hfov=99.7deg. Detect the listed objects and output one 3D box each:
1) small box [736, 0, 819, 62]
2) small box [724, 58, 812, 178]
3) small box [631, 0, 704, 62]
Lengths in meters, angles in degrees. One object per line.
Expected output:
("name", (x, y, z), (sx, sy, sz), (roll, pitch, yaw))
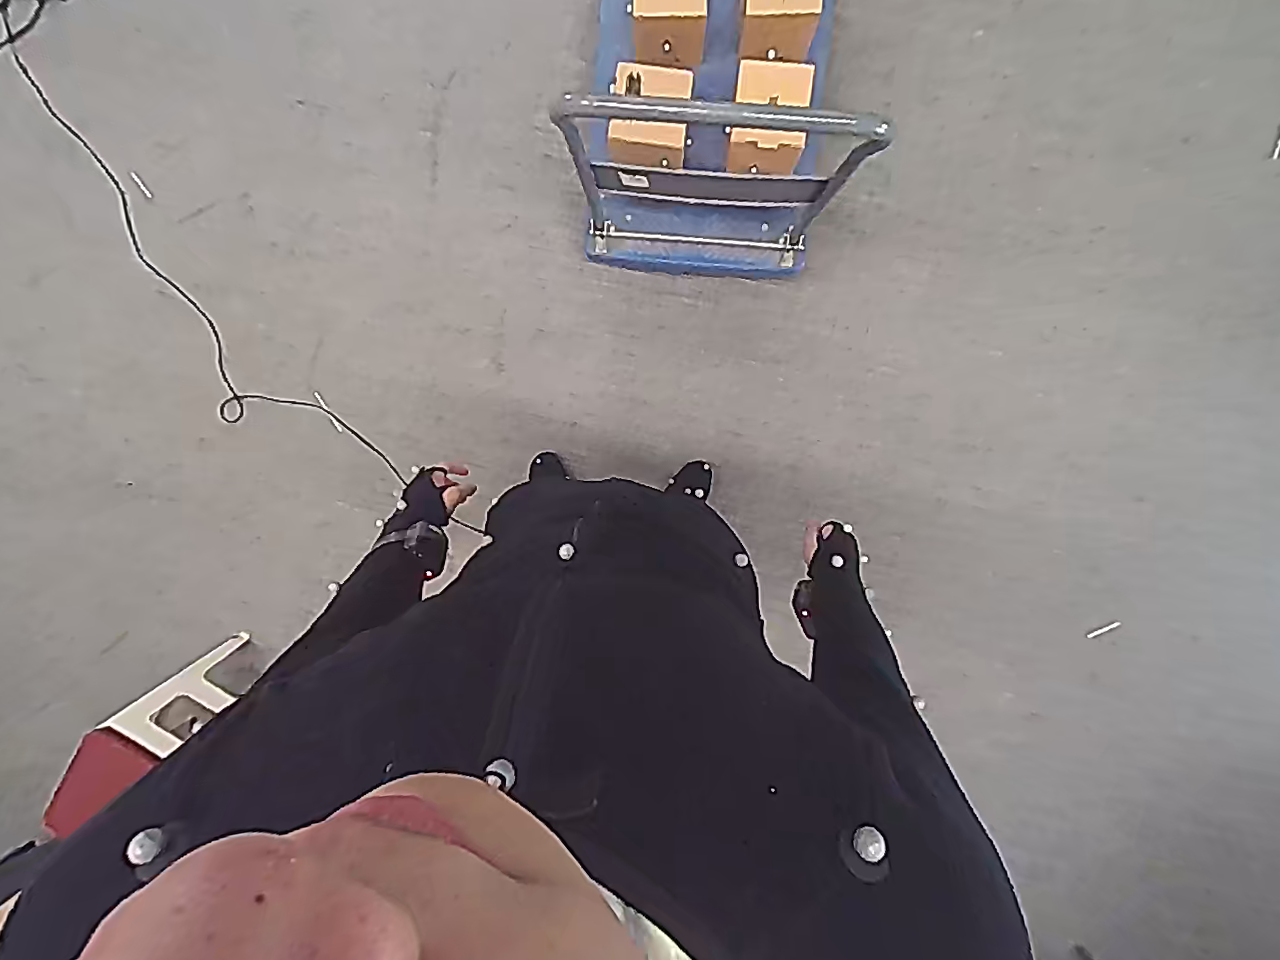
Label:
("small box", (0.319, -1.126, 1.266), (0.168, 0.176, 0.179), (2, 96, 4))
("small box", (0.298, -0.858, 1.293), (0.168, 0.176, 0.179), (6, 96, 2))
("small box", (0.068, -1.131, 1.280), (0.168, 0.176, 0.179), (1, 95, 2))
